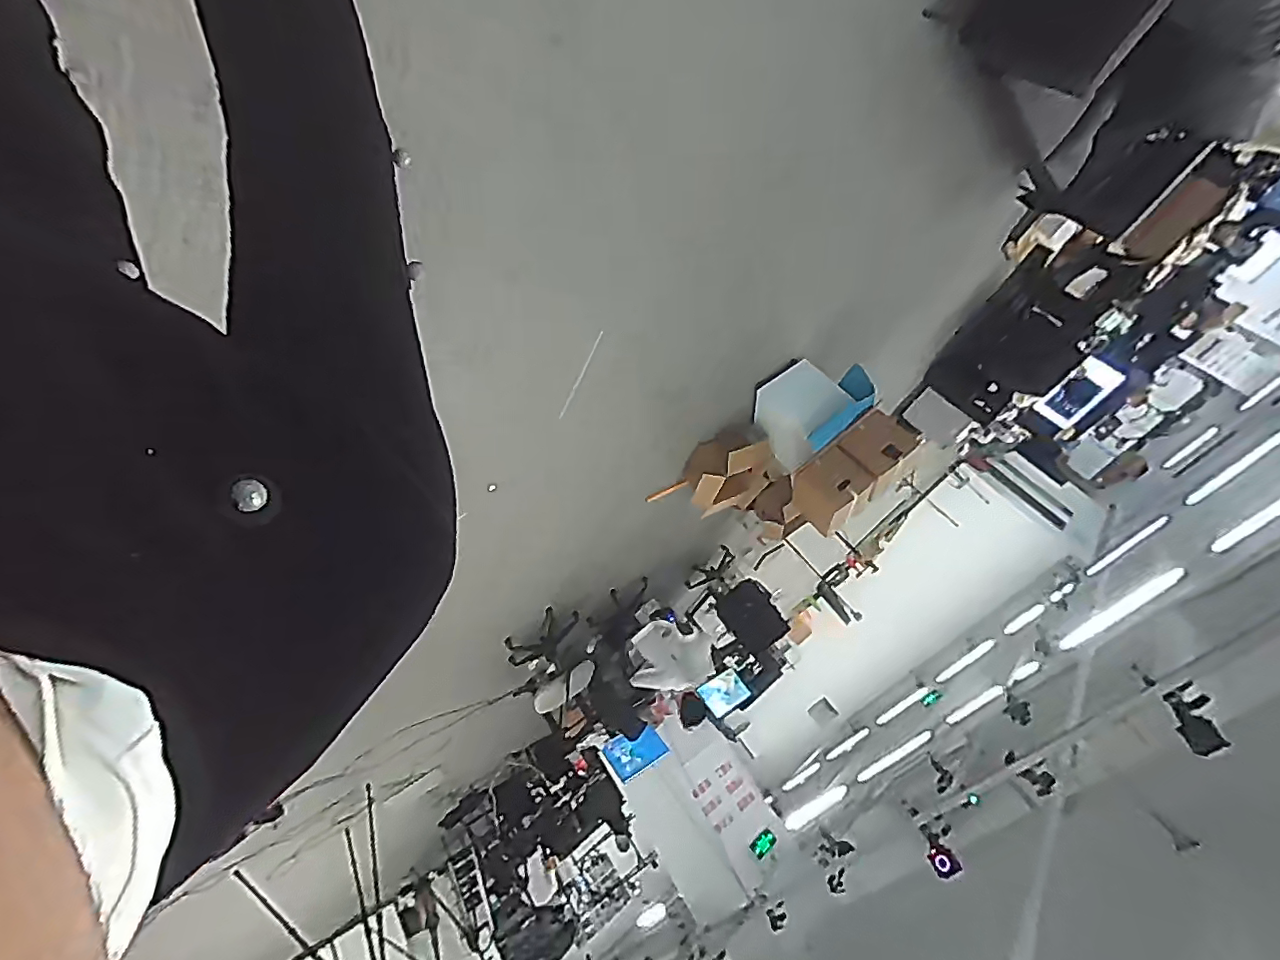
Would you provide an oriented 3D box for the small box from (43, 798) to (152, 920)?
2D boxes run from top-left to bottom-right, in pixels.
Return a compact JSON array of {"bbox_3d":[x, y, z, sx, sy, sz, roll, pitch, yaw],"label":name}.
[{"bbox_3d":[-1.385,0.962,1.383,0.179,0.176,0.168,-12,144,-44],"label":"small box"}]
